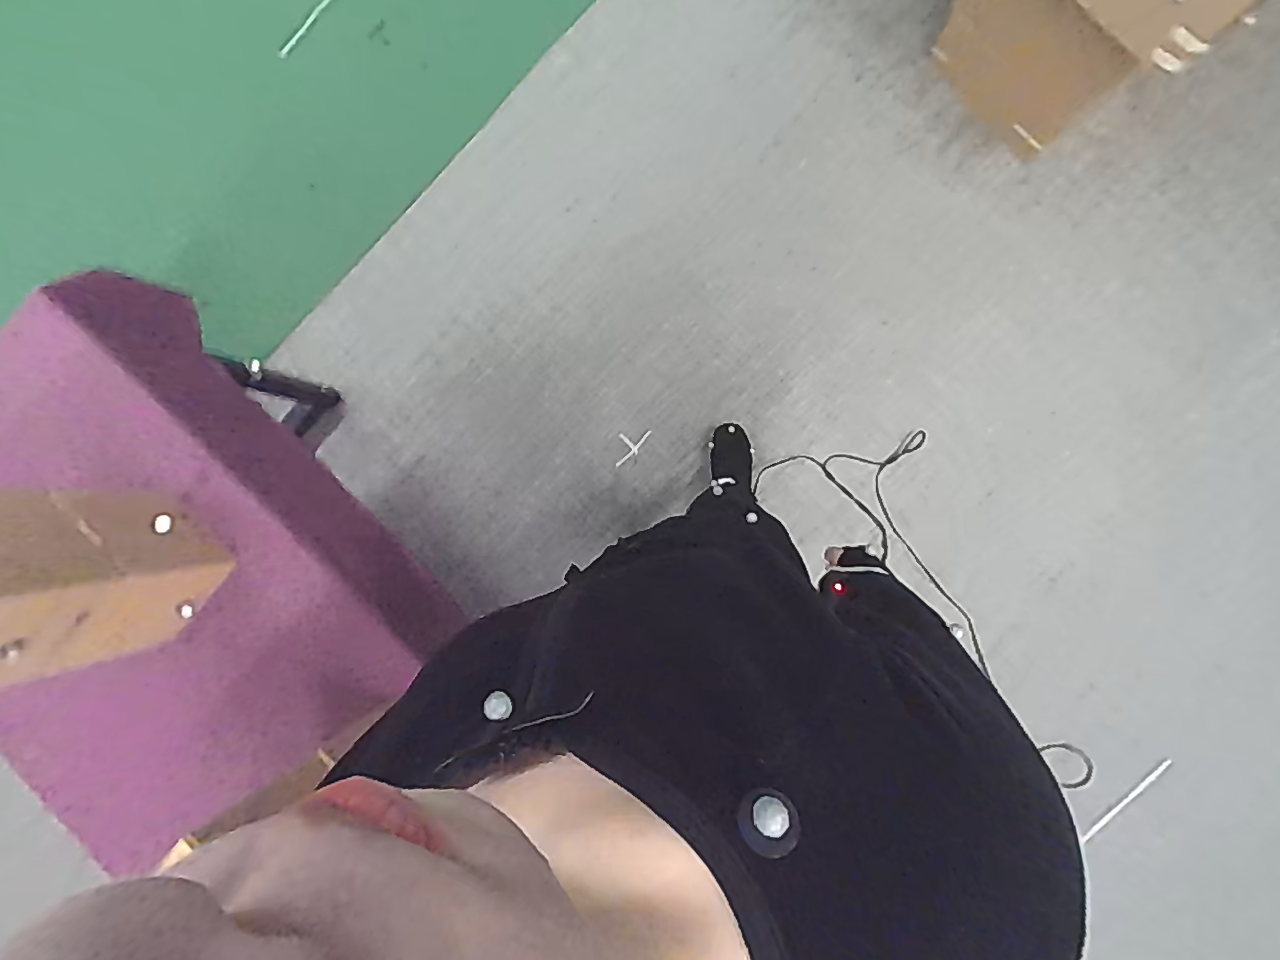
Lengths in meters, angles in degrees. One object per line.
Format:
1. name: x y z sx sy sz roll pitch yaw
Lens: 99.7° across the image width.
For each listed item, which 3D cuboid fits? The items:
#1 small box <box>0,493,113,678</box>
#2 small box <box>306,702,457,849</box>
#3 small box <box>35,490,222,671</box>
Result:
1. small box: -0.770 0.124 0.607 0.179 0.176 0.168 41 93 5
2. small box: -0.377 0.439 0.731 0.168 0.176 0.179 40 93 6
3. small box: -0.755 0.129 0.772 0.168 0.176 0.179 42 92 5
